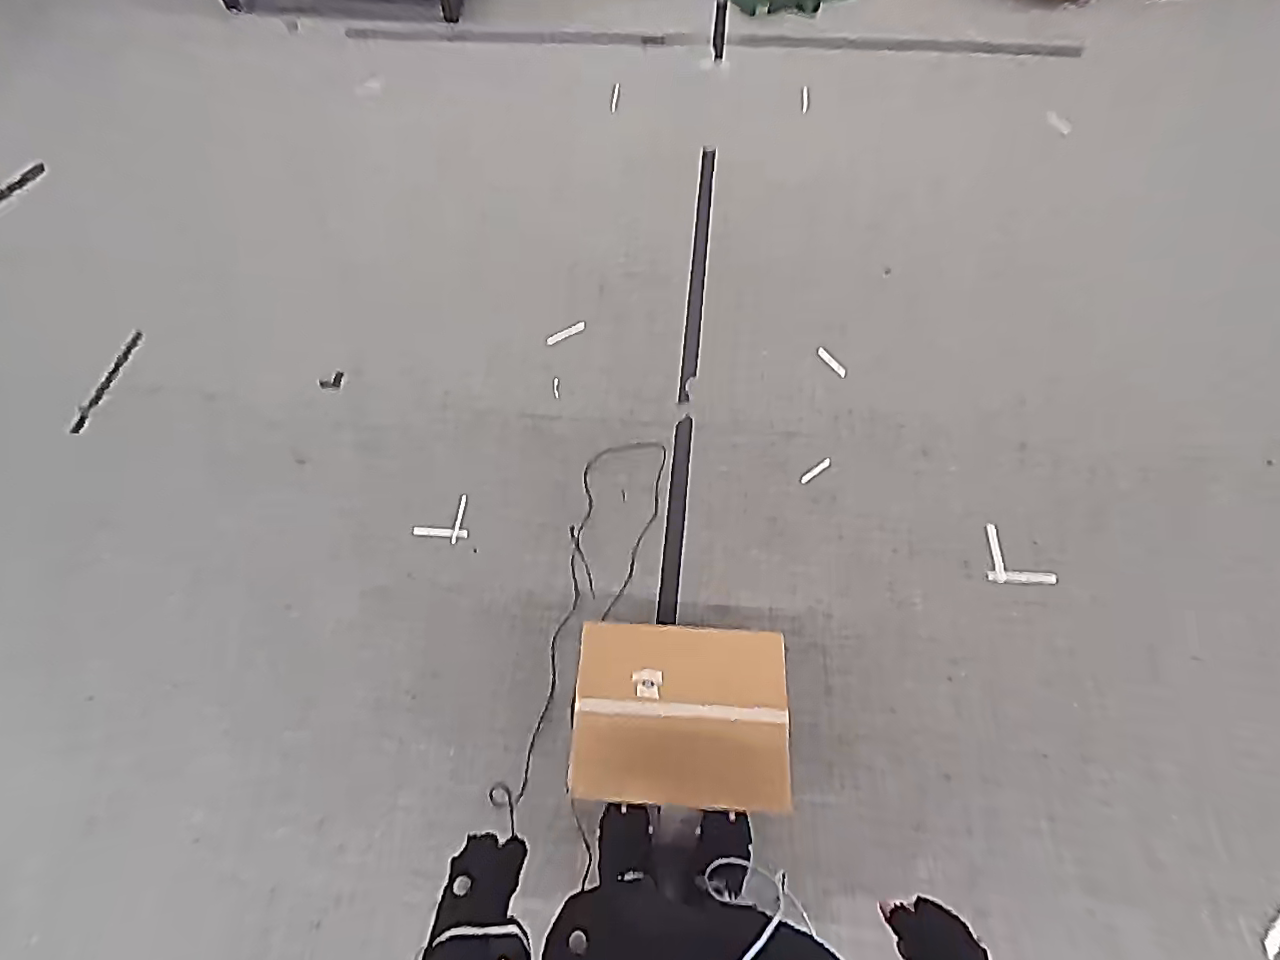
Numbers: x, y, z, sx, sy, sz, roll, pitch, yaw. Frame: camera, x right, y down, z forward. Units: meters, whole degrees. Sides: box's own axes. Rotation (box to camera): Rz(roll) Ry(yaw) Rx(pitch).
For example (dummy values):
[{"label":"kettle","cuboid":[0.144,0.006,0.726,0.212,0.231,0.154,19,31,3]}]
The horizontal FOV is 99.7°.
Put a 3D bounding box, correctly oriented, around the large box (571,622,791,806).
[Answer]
[{"label":"large box","cuboid":[0.086,0.495,1.169,0.408,0.320,0.320,2,65,3]}]
